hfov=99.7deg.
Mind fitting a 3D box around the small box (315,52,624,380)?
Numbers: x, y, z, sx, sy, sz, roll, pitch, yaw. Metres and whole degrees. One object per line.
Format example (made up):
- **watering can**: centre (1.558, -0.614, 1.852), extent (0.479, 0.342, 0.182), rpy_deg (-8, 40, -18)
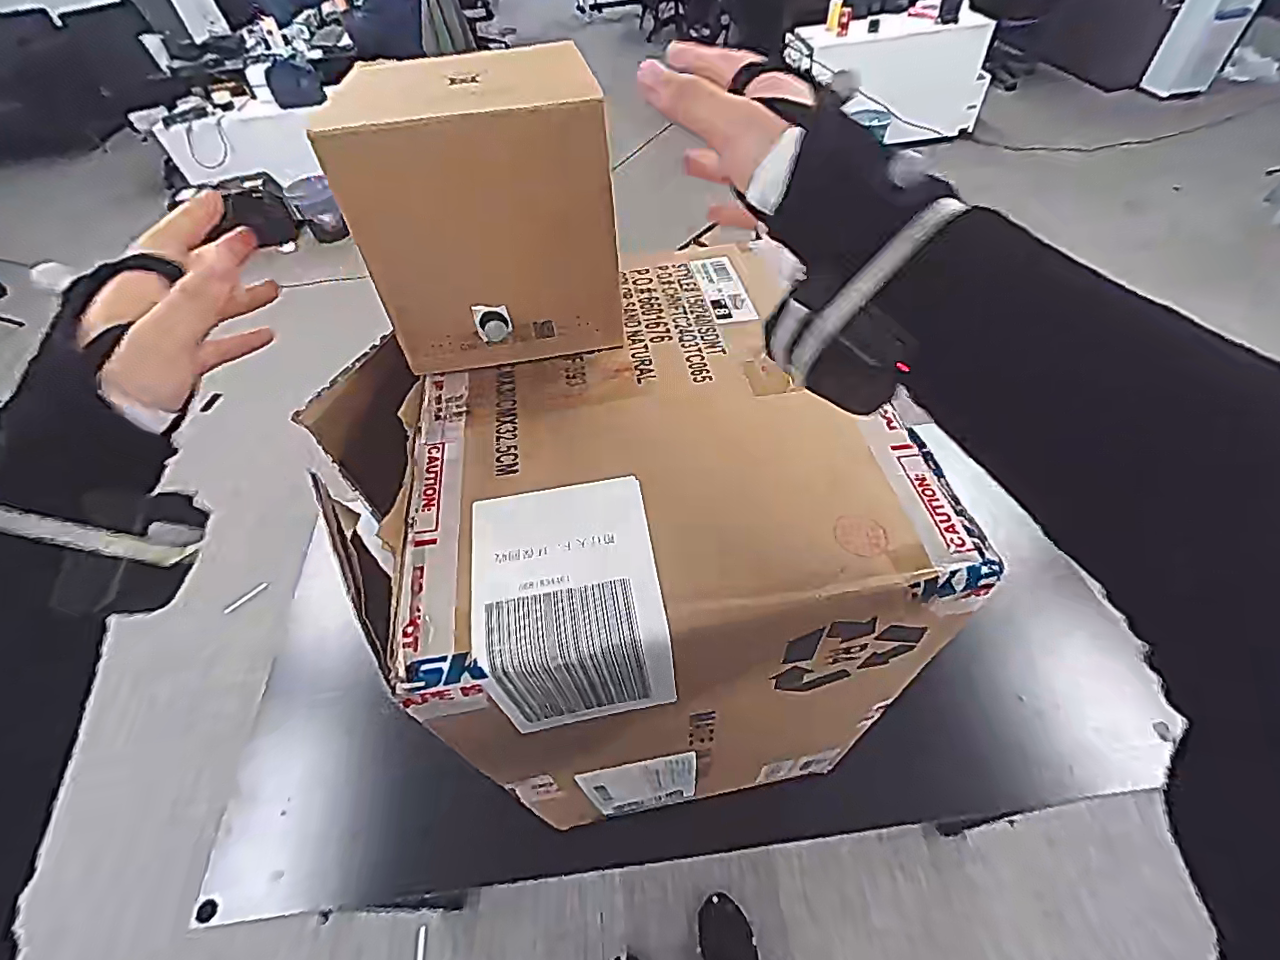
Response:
- **small box**: centre (-0.111, -0.203, 0.418), extent (0.168, 0.176, 0.179), rpy_deg (-11, 48, -5)
